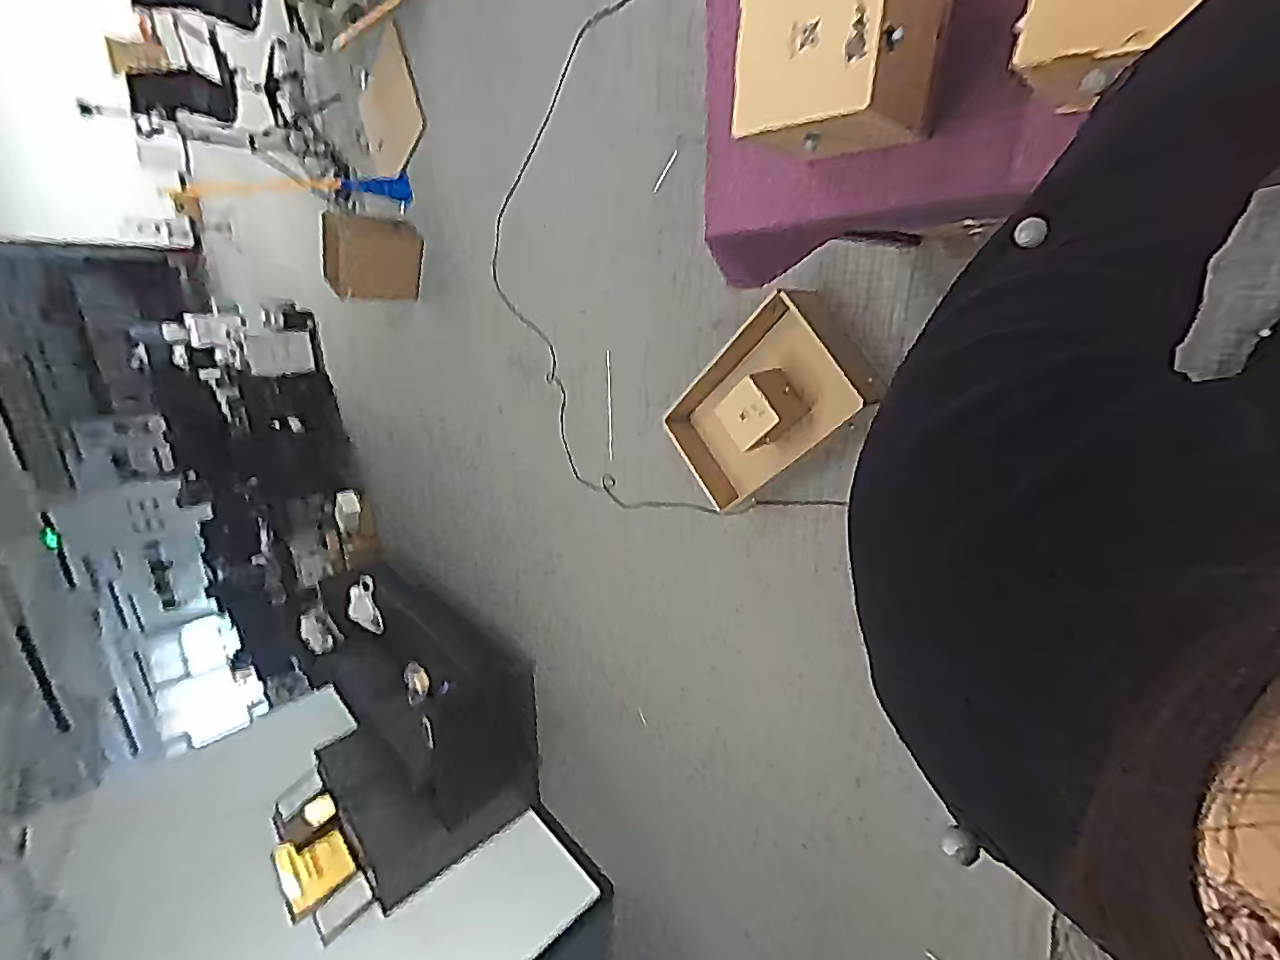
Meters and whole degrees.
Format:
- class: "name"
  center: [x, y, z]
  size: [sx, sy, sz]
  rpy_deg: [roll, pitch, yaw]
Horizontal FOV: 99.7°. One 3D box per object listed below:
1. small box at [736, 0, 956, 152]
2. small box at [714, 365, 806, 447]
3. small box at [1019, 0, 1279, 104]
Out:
- class: "small box"
  center: [0.238, -0.501, 0.636]
  size: [0.179, 0.176, 0.168]
  rpy_deg: [21, 119, 43]
- class: "small box"
  center: [0.364, -0.226, 1.633]
  size: [0.168, 0.176, 0.179]
  rpy_deg: [59, 138, 13]
- class: "small box"
  center: [0.446, -0.431, 0.434]
  size: [0.168, 0.176, 0.179]
  rpy_deg: [26, 123, 40]
